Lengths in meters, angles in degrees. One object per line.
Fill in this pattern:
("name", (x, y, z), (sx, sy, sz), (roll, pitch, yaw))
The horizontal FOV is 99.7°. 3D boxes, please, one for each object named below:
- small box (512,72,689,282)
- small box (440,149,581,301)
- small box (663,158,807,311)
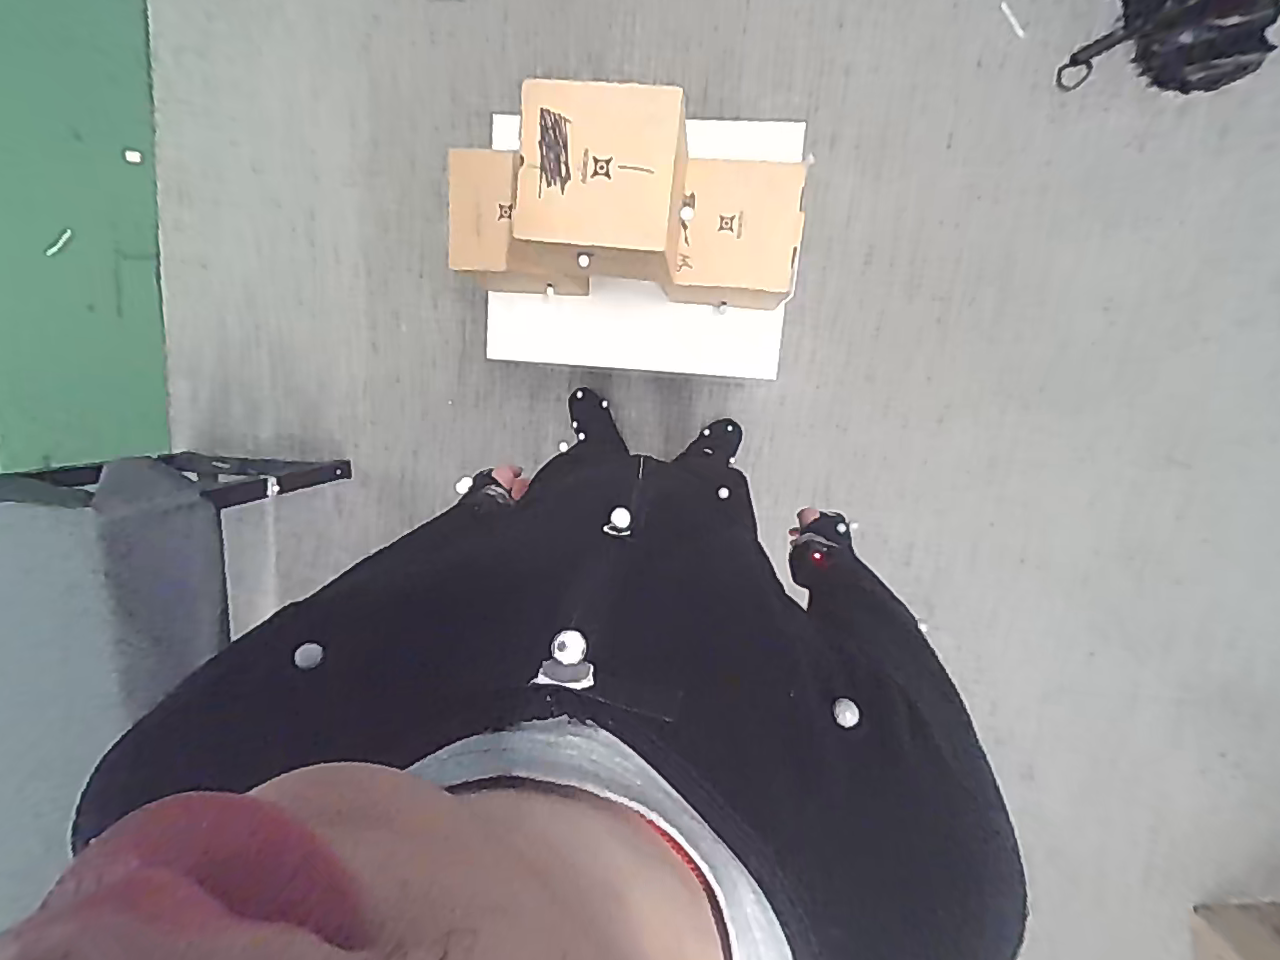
("small box", (-0.037, -0.341, 0.641), (0.179, 0.176, 0.168), (6, 99, 3))
("small box", (-0.182, -0.371, 0.813), (0.179, 0.176, 0.168), (2, 97, 4))
("small box", (0.130, -0.348, 0.795), (0.179, 0.176, 0.168), (5, 99, 5))
